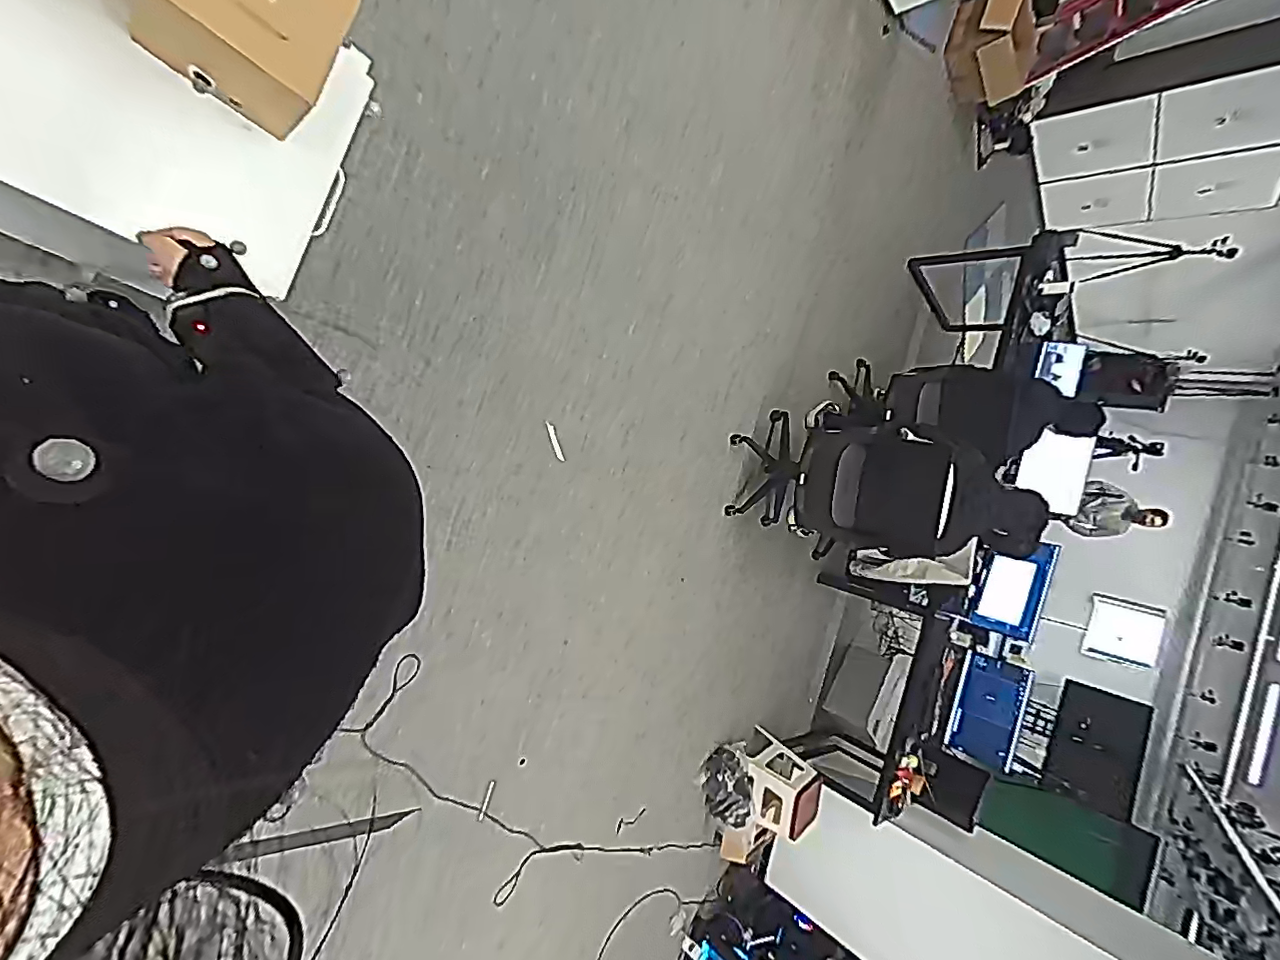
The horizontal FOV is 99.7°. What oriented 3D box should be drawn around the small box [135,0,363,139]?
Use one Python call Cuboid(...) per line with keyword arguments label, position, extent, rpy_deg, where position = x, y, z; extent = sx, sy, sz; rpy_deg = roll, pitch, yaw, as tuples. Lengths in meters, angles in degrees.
Cuboid(label="small box", position=(-0.461, -0.551, 0.637), extent=(0.168, 0.176, 0.179), rpy_deg=(23, 85, -45))
